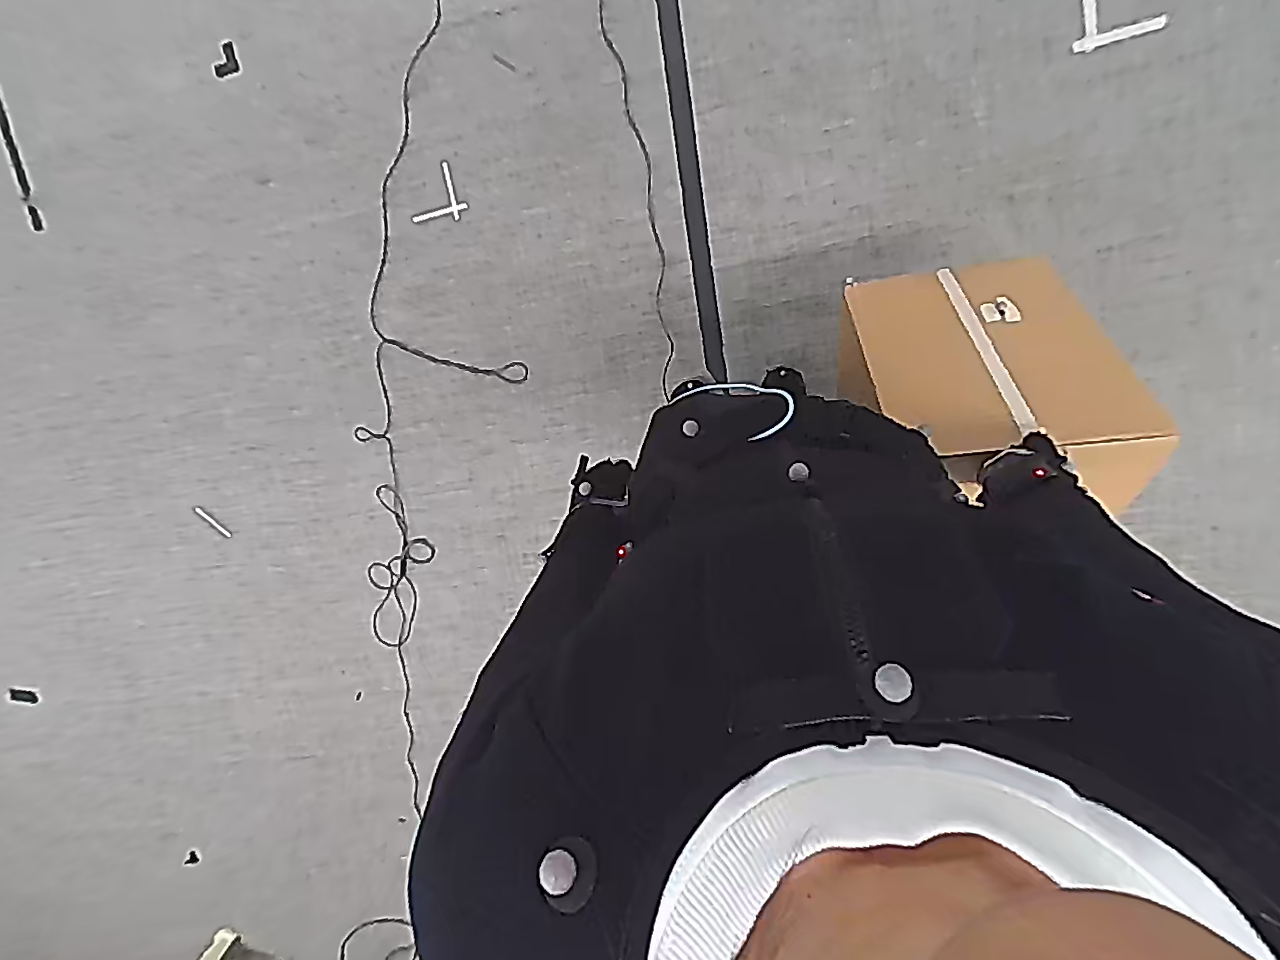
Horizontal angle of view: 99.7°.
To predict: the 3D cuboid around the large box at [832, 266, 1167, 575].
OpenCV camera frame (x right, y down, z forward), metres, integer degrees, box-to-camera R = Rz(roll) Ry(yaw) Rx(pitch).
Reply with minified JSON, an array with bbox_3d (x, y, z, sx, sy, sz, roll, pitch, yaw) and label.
[{"bbox_3d":[0.527,-0.096,0.913,0.320,0.408,0.320,-5,140,10],"label":"large box"}]
